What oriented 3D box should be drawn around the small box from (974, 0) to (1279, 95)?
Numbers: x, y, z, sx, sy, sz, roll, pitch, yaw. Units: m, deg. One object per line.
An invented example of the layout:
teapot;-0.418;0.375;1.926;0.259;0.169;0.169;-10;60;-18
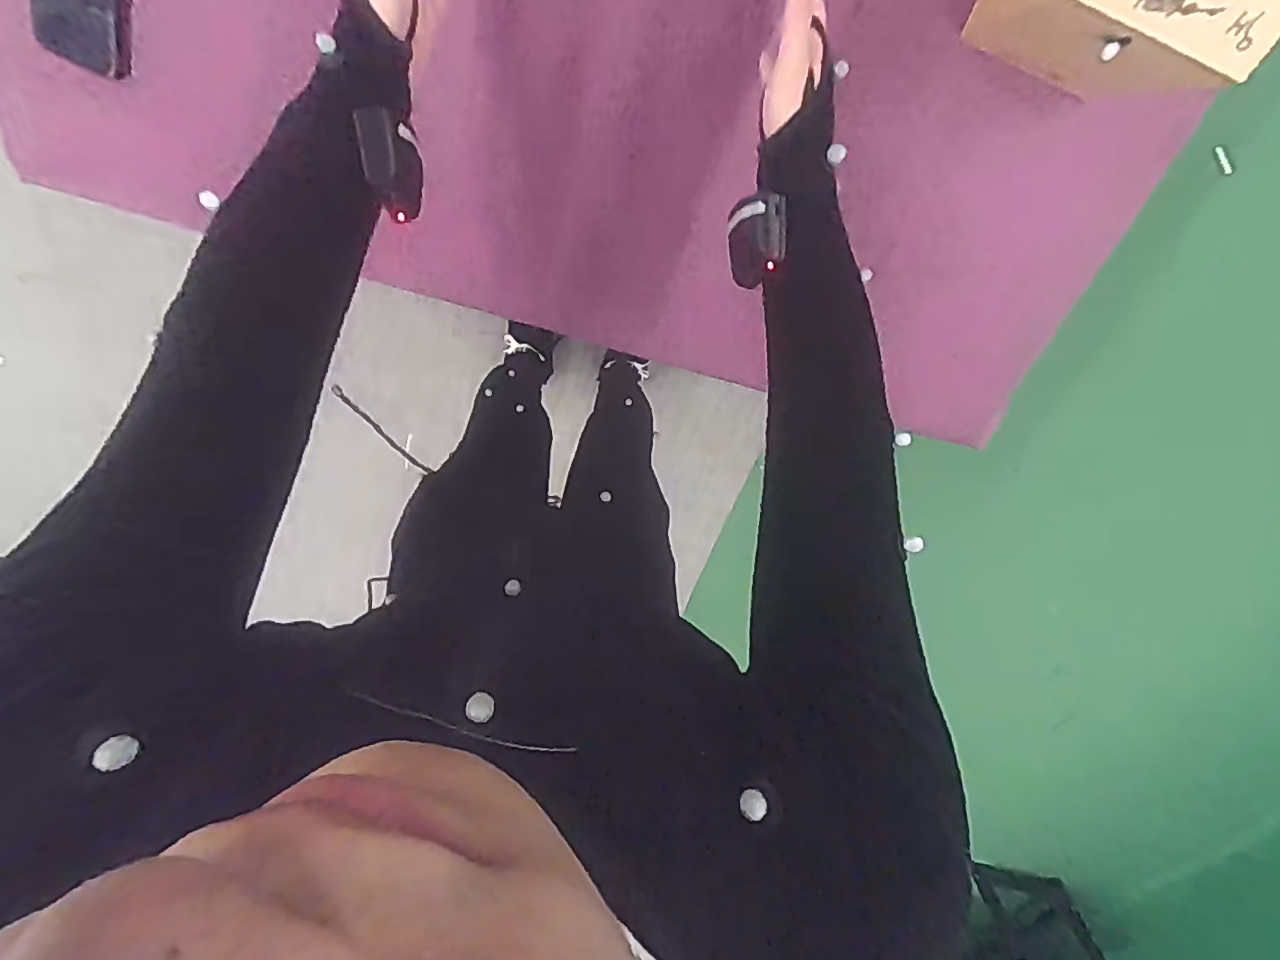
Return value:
small box;0.412;-0.437;0.423;0.168;0.176;0.179;17;119;-8
